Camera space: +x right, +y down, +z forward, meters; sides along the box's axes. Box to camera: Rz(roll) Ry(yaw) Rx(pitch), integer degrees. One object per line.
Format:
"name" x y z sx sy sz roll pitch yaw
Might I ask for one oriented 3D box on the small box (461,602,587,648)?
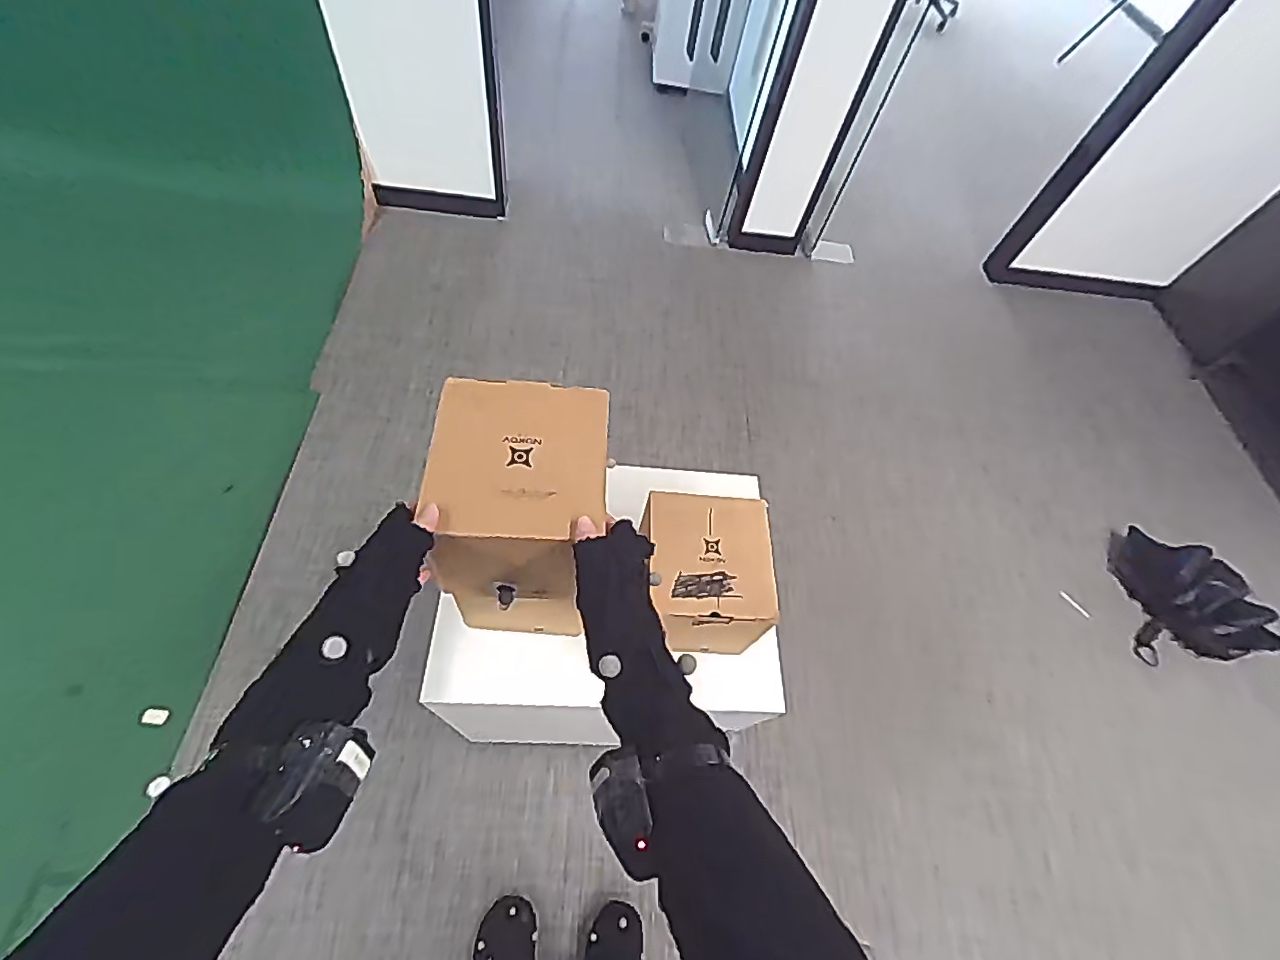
"small box" -0.153 0.119 0.760 0.168 0.176 0.179 6 56 -5

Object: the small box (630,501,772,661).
"small box" 0.077 0.152 0.777 0.168 0.176 0.179 5 56 -6

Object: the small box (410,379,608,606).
"small box" -0.124 0.019 0.567 0.168 0.176 0.179 2 59 -7
